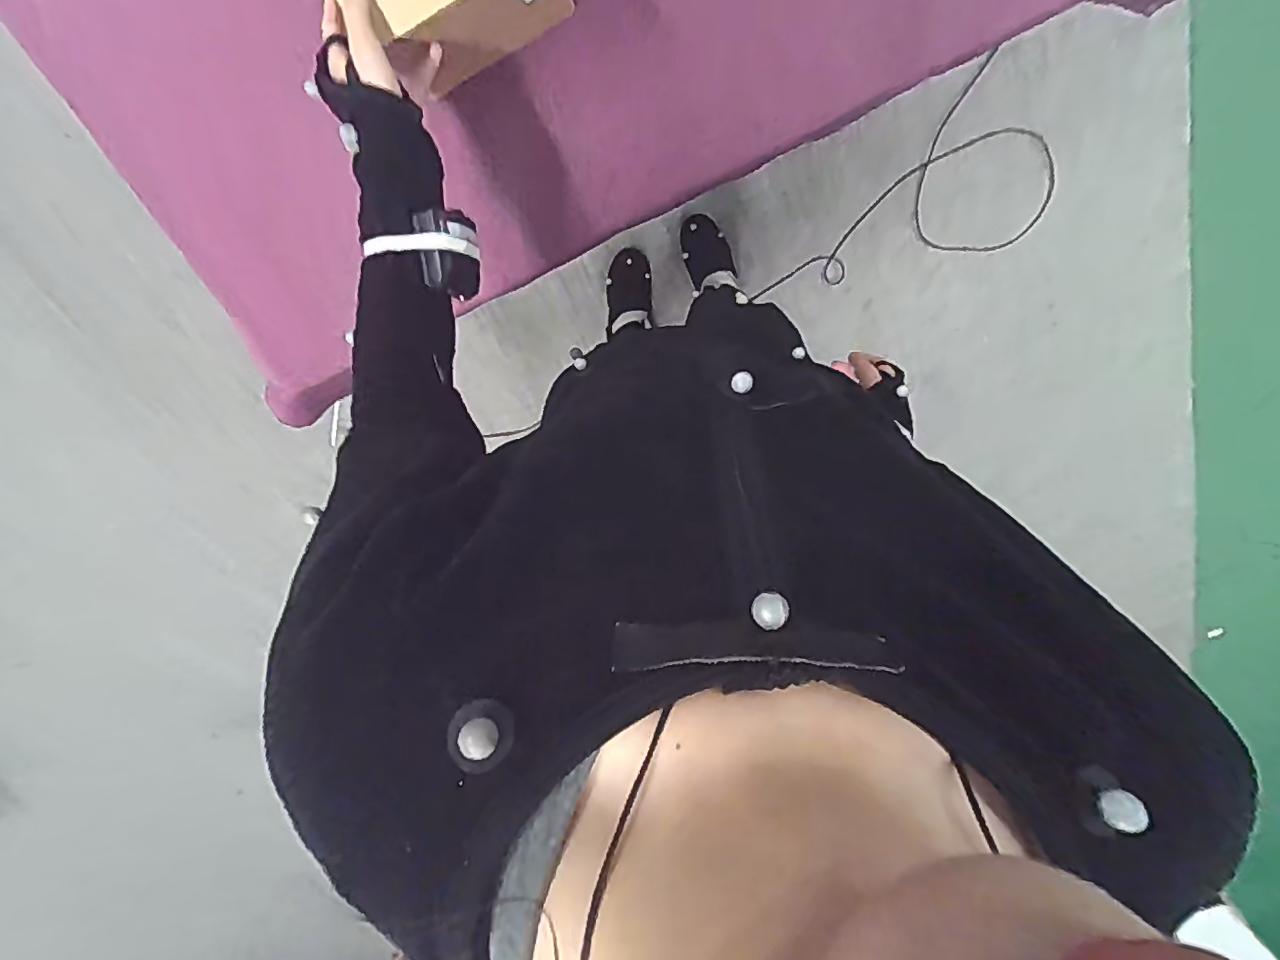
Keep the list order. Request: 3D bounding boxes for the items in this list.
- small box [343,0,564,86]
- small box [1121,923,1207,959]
[{"bbox_3d":[-0.175,-0.476,0.456,0.179,0.176,0.168,-26,114,9],"label":"small box"},{"bbox_3d":[1.546,1.433,1.564,0.168,0.176,0.179,-19,114,5],"label":"small box"}]
